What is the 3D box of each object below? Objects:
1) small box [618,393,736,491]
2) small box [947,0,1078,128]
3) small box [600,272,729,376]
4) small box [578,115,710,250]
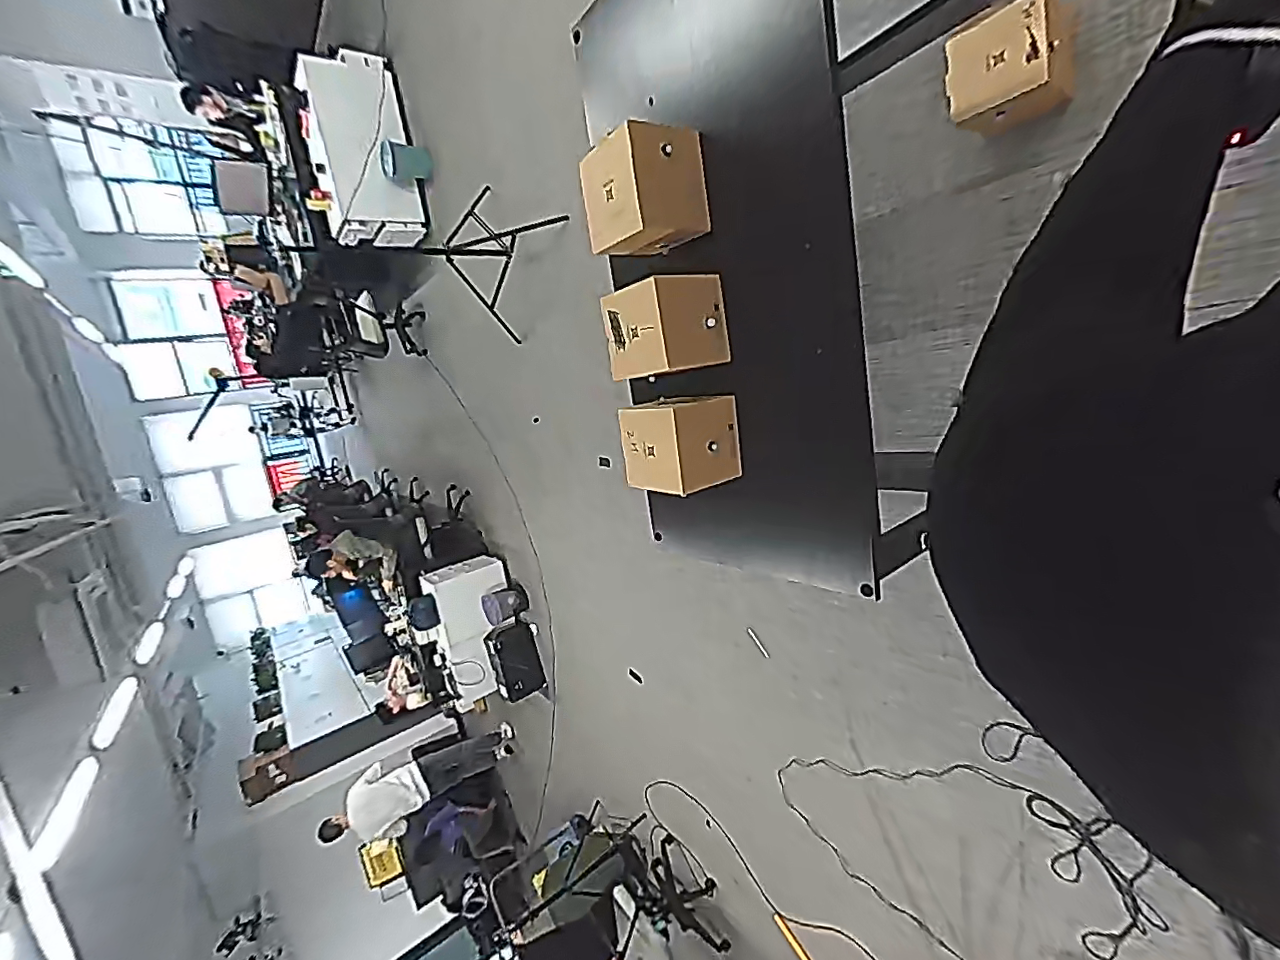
[{"bbox_3d":[0.082,-0.084,1.101,0.179,0.176,0.168,9,111,52],"label":"small box"},{"bbox_3d":[0.767,-0.858,1.113,0.179,0.176,0.168,3,107,54],"label":"small box"},{"bbox_3d":[0.048,-0.302,1.058,0.179,0.176,0.168,4,107,53],"label":"small box"},{"bbox_3d":[0.009,-0.543,1.015,0.168,0.176,0.179,5,109,54],"label":"small box"}]
